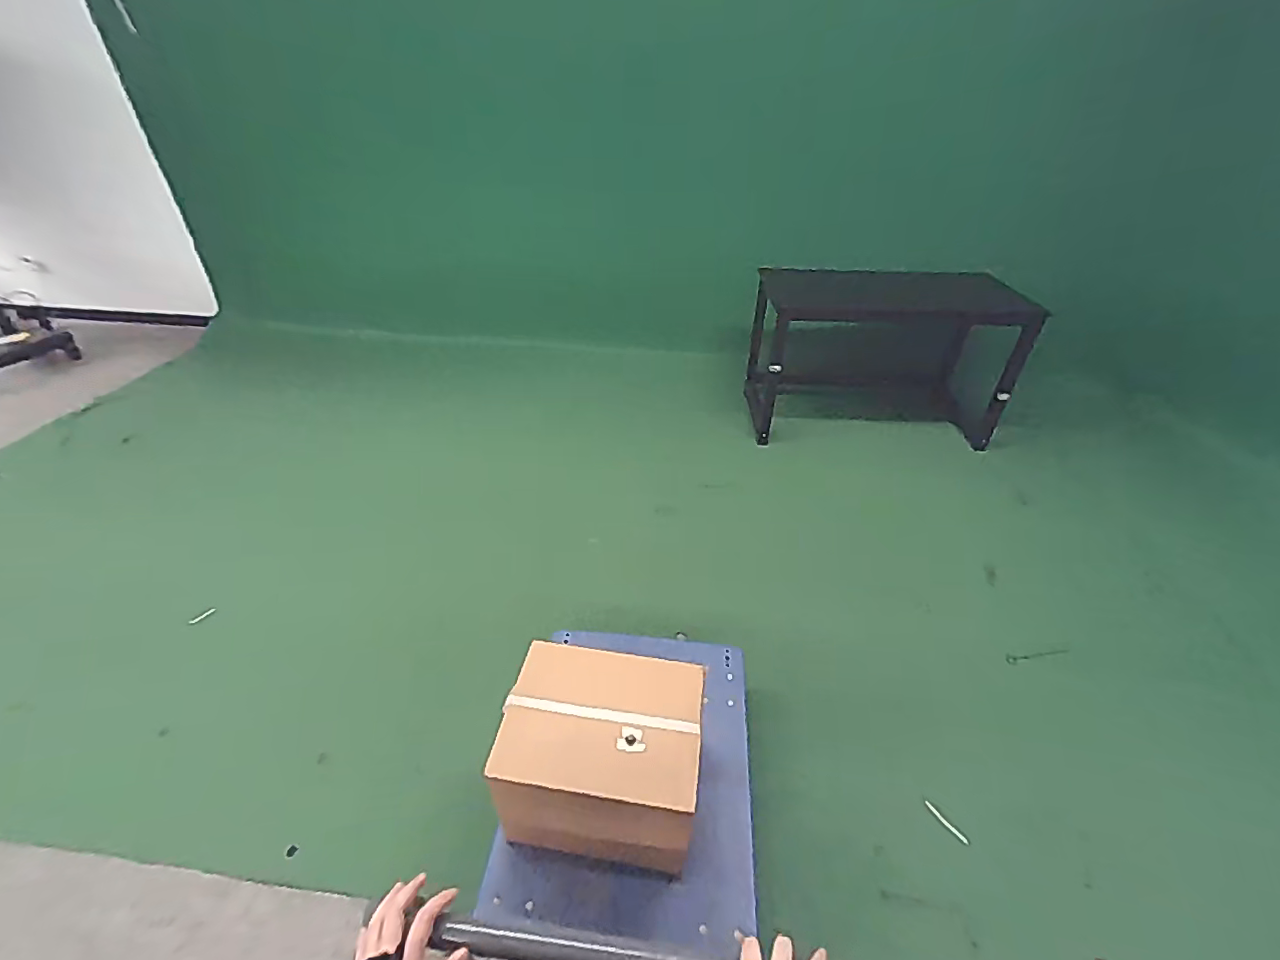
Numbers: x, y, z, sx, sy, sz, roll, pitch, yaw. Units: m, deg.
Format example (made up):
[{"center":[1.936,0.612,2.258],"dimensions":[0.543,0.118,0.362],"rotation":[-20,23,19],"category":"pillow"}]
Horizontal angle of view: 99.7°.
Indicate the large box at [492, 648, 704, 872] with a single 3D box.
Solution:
[{"center":[-0.078,0.624,1.222],"dimensions":[0.408,0.320,0.320],"rotation":[7,37,6],"category":"large box"}]
